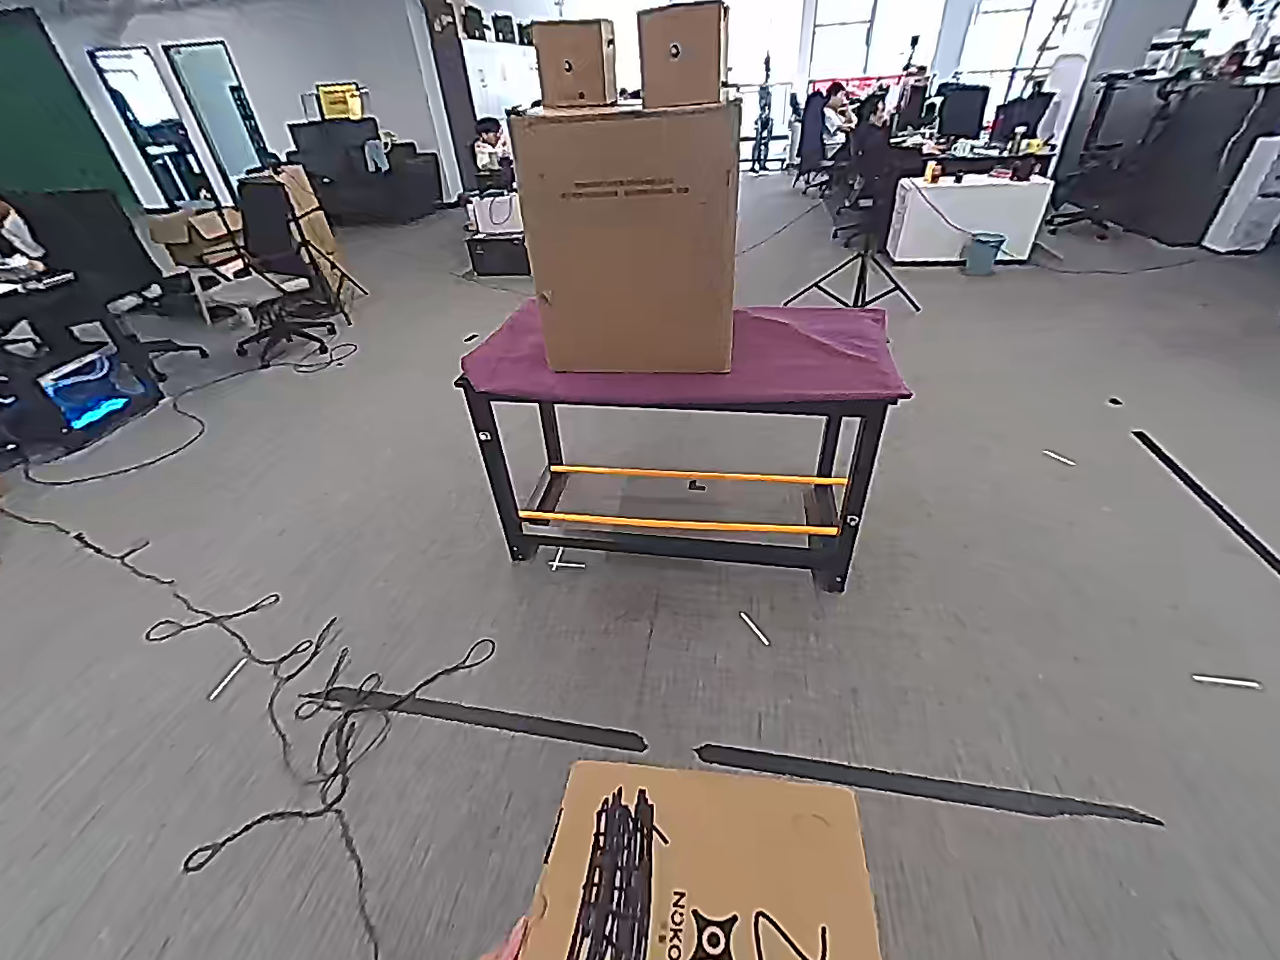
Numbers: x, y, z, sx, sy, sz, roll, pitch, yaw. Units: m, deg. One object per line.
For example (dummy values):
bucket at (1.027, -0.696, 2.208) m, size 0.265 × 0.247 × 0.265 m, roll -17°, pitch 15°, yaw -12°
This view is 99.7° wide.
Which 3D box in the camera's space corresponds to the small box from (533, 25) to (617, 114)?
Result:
small box at (-0.154, -1.030, 1.364) m, size 0.168 × 0.176 × 0.179 m, roll 4°, pitch 38°, yaw 8°
